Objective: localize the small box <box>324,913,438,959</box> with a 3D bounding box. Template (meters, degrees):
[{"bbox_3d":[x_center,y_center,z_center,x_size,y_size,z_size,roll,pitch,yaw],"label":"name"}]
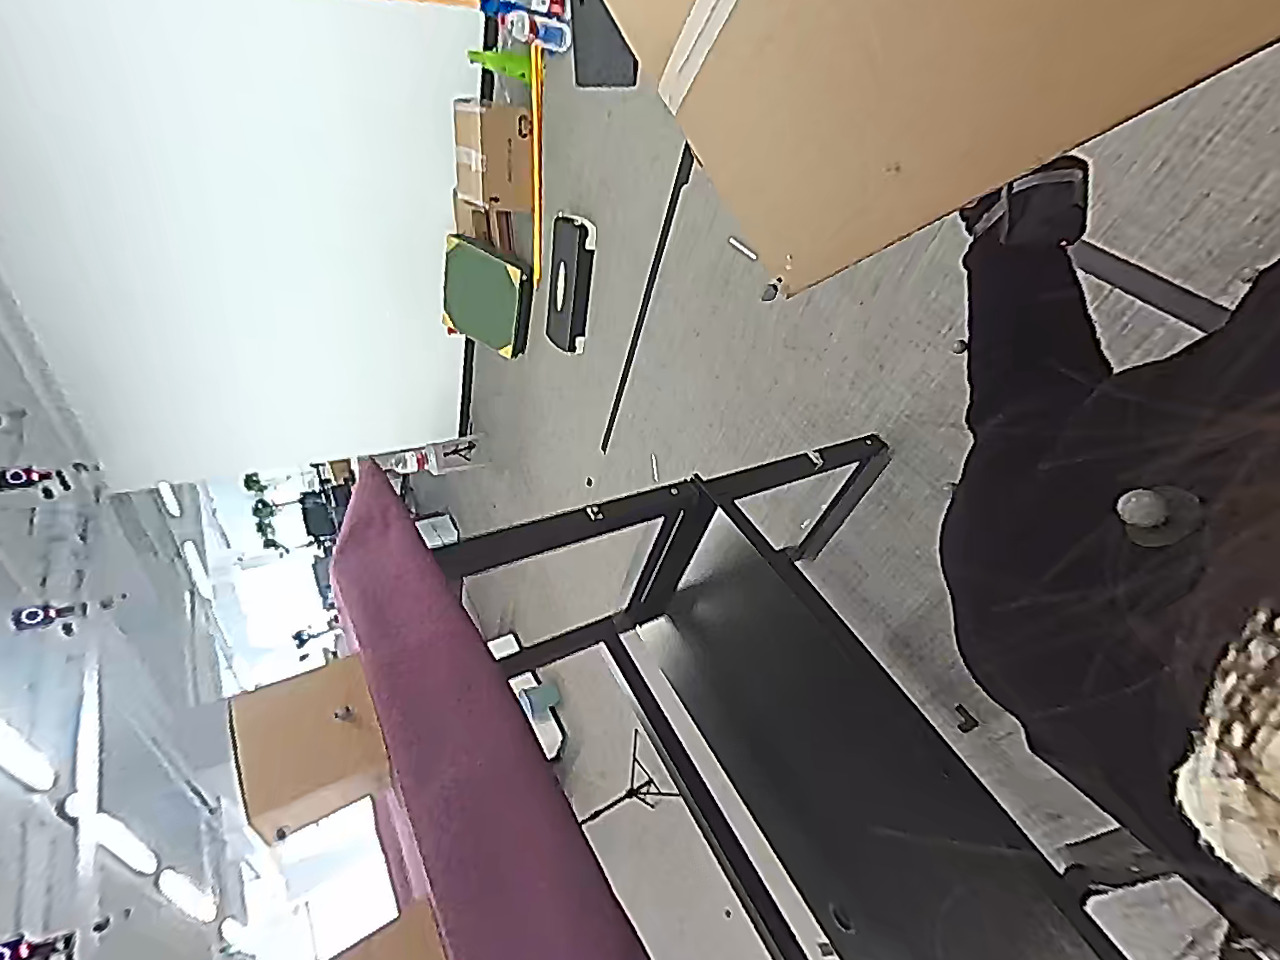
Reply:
[{"bbox_3d":[-0.314,0.657,0.635,0.179,0.176,0.168,49,139,35],"label":"small box"}]

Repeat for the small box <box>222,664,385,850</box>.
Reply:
[{"bbox_3d":[-0.482,0.392,0.789,0.179,0.176,0.168,56,143,29],"label":"small box"}]

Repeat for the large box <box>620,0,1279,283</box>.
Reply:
[{"bbox_3d":[0.195,-0.346,0.201,0.320,0.320,0.408,56,168,-11],"label":"large box"}]
